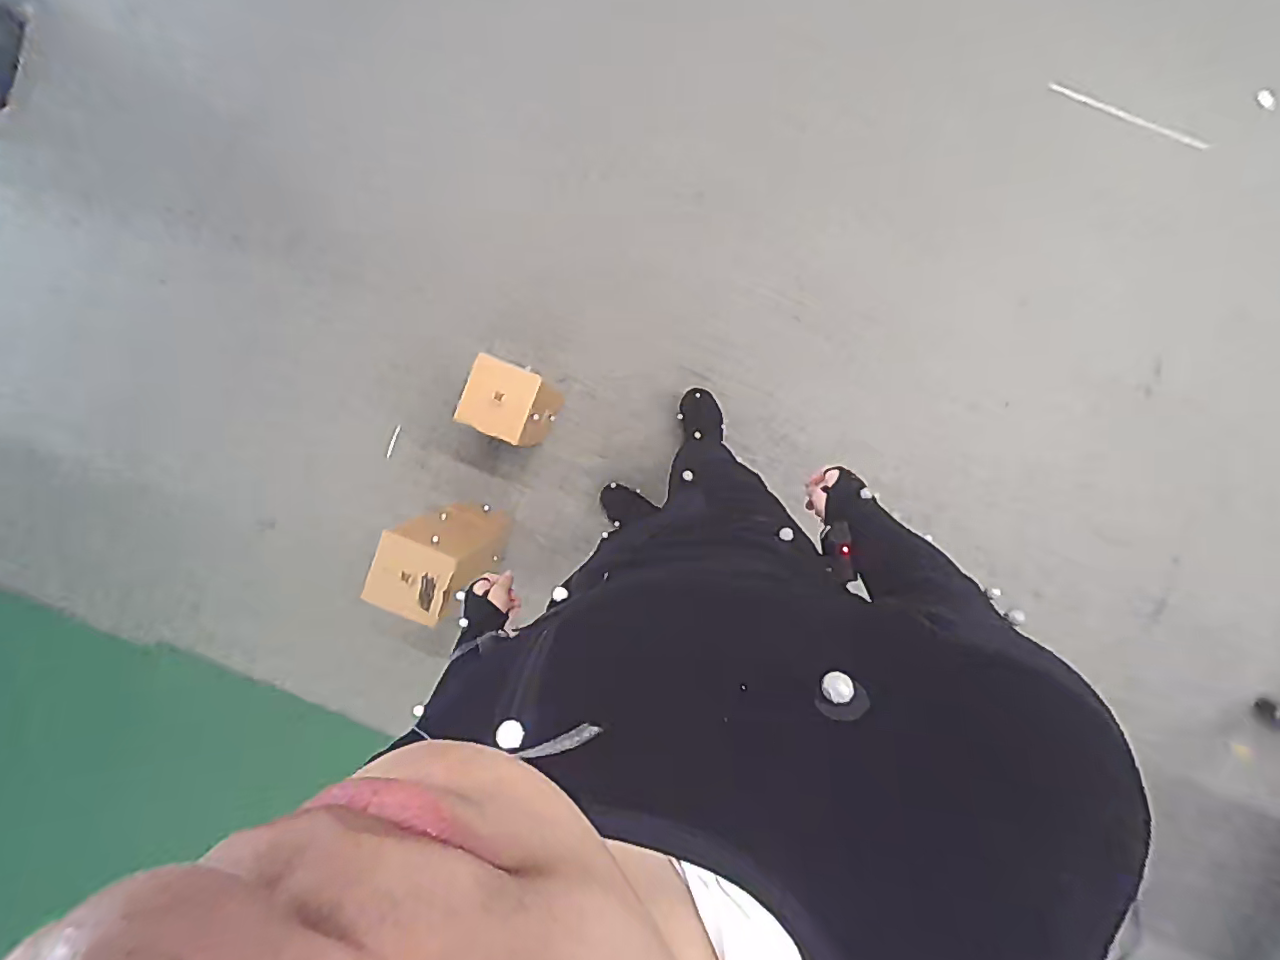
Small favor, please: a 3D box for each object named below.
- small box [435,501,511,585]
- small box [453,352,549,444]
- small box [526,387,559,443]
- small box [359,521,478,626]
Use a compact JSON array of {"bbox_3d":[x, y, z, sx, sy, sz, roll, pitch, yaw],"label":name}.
[{"bbox_3d":[-0.492,0.175,1.562,0.168,0.176,0.179,23,94,0],"label":"small box"},{"bbox_3d":[-0.341,-0.203,1.368,0.168,0.176,0.179,22,96,0],"label":"small box"},{"bbox_3d":[-0.344,-0.213,1.530,0.179,0.176,0.168,24,94,-1],"label":"small box"},{"bbox_3d":[-0.494,0.203,1.235,0.179,0.176,0.168,21,94,1],"label":"small box"}]
